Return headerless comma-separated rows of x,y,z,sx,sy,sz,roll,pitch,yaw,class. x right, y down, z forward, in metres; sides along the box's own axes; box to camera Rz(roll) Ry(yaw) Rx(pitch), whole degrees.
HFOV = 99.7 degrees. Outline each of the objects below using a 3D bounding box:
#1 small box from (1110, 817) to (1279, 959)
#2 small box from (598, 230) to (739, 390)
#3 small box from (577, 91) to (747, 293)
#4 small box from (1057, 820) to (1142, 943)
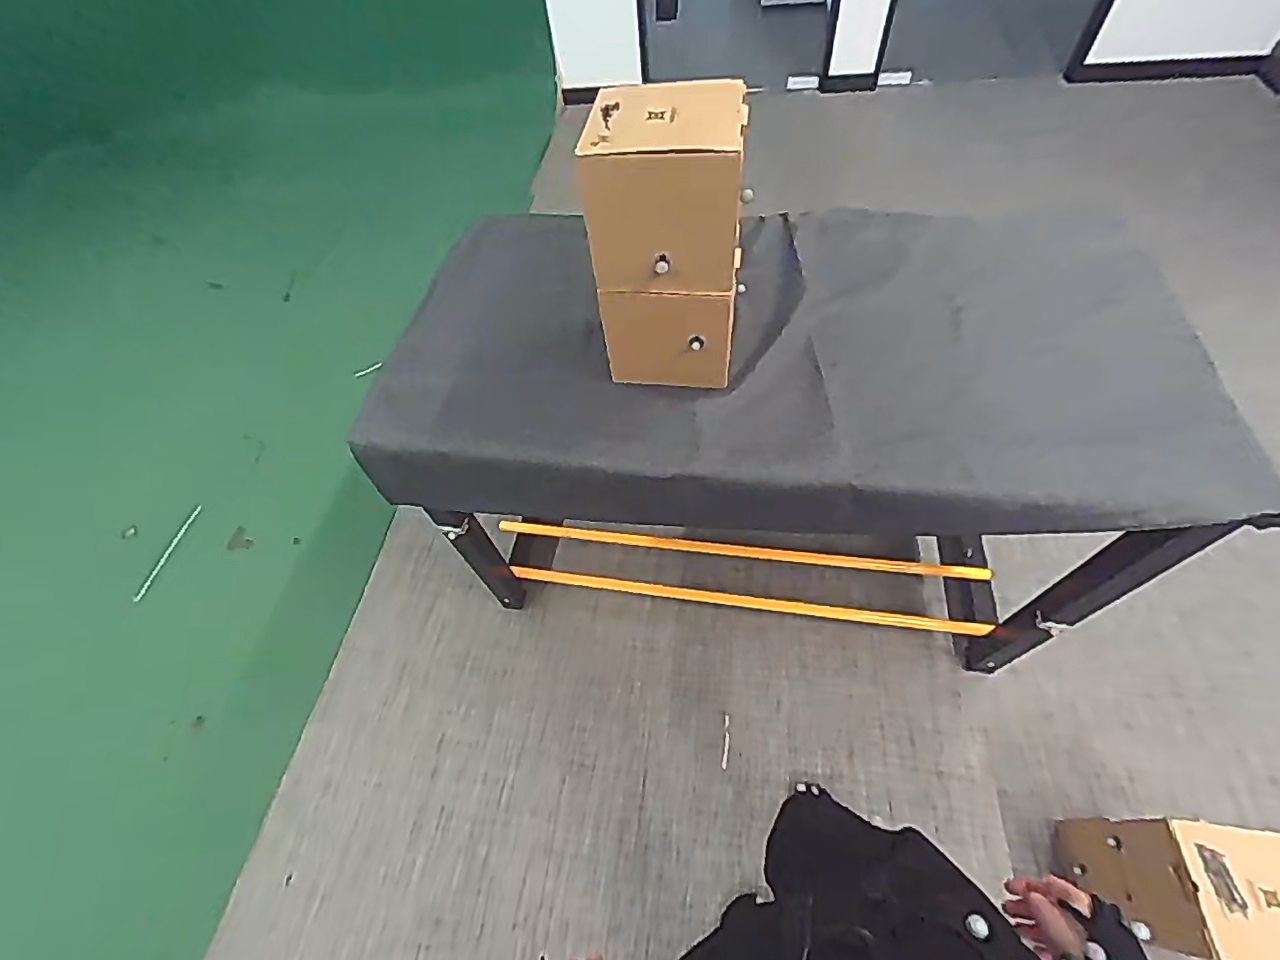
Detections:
0.856,0.615,0.805,0.179,0.176,0.168,4,56,8,small box
0.048,-0.250,0.799,0.179,0.176,0.168,4,55,9,small box
0.034,-0.349,0.669,0.179,0.176,0.168,4,55,8,small box
0.883,0.705,0.940,0.179,0.176,0.168,5,56,9,small box
